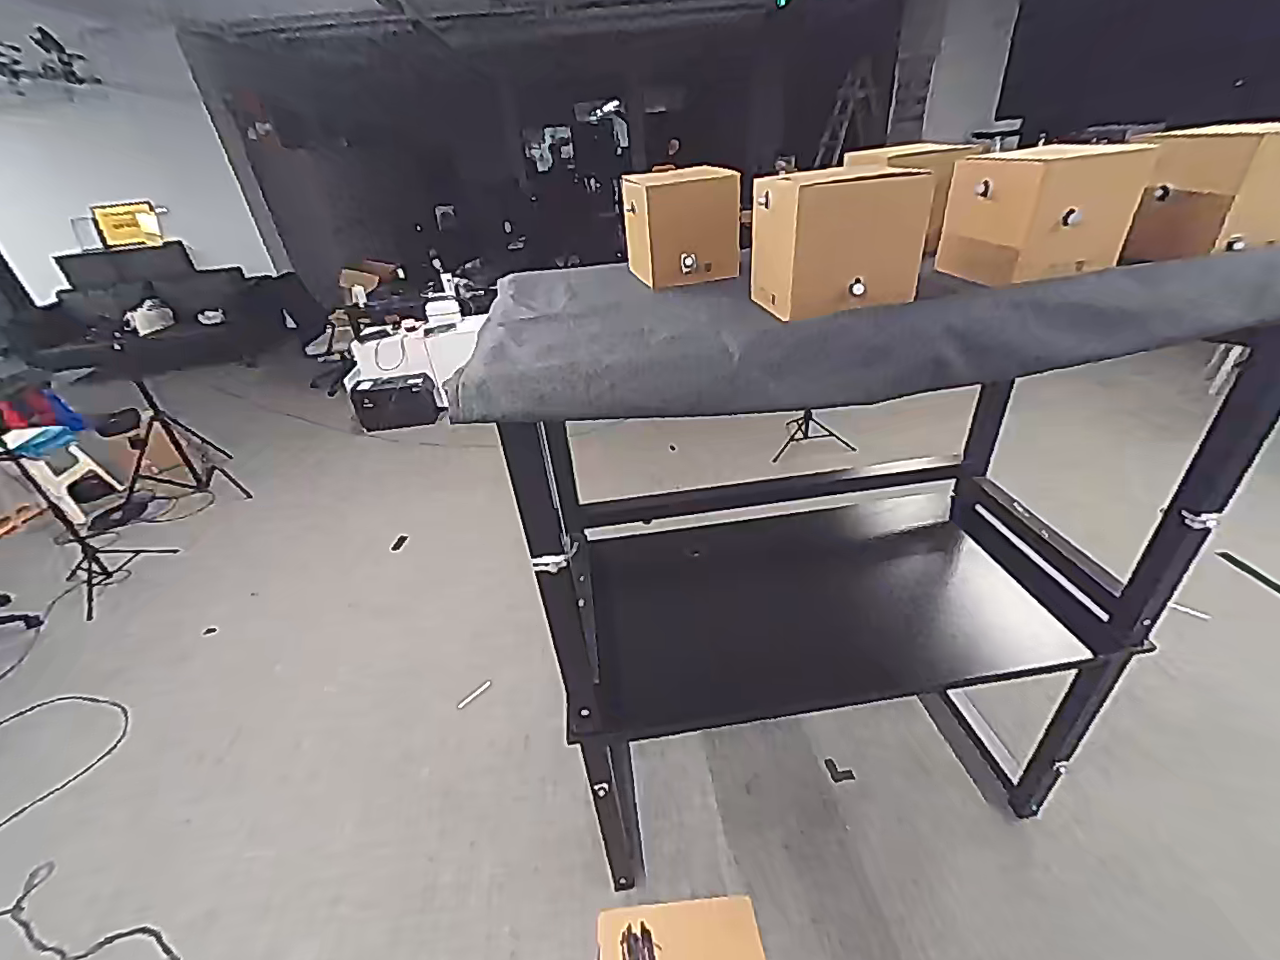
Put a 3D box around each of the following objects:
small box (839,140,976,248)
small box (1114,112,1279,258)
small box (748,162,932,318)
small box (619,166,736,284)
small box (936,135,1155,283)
[{"bbox_3d":[0.490,-0.538,1.028,0.179,0.176,0.168,-8,33,-4],"label":"small box"},{"bbox_3d":[0.843,-0.434,0.802,0.168,0.176,0.179,-12,31,-8],"label":"small box"},{"bbox_3d":[0.257,-0.332,0.742,0.179,0.176,0.168,-8,31,-5],"label":"small box"},{"bbox_3d":[0.065,-0.463,0.980,0.168,0.176,0.179,-13,33,-9],"label":"small box"},{"bbox_3d":[0.572,-0.394,0.791,0.168,0.176,0.179,-10,32,-5],"label":"small box"}]
